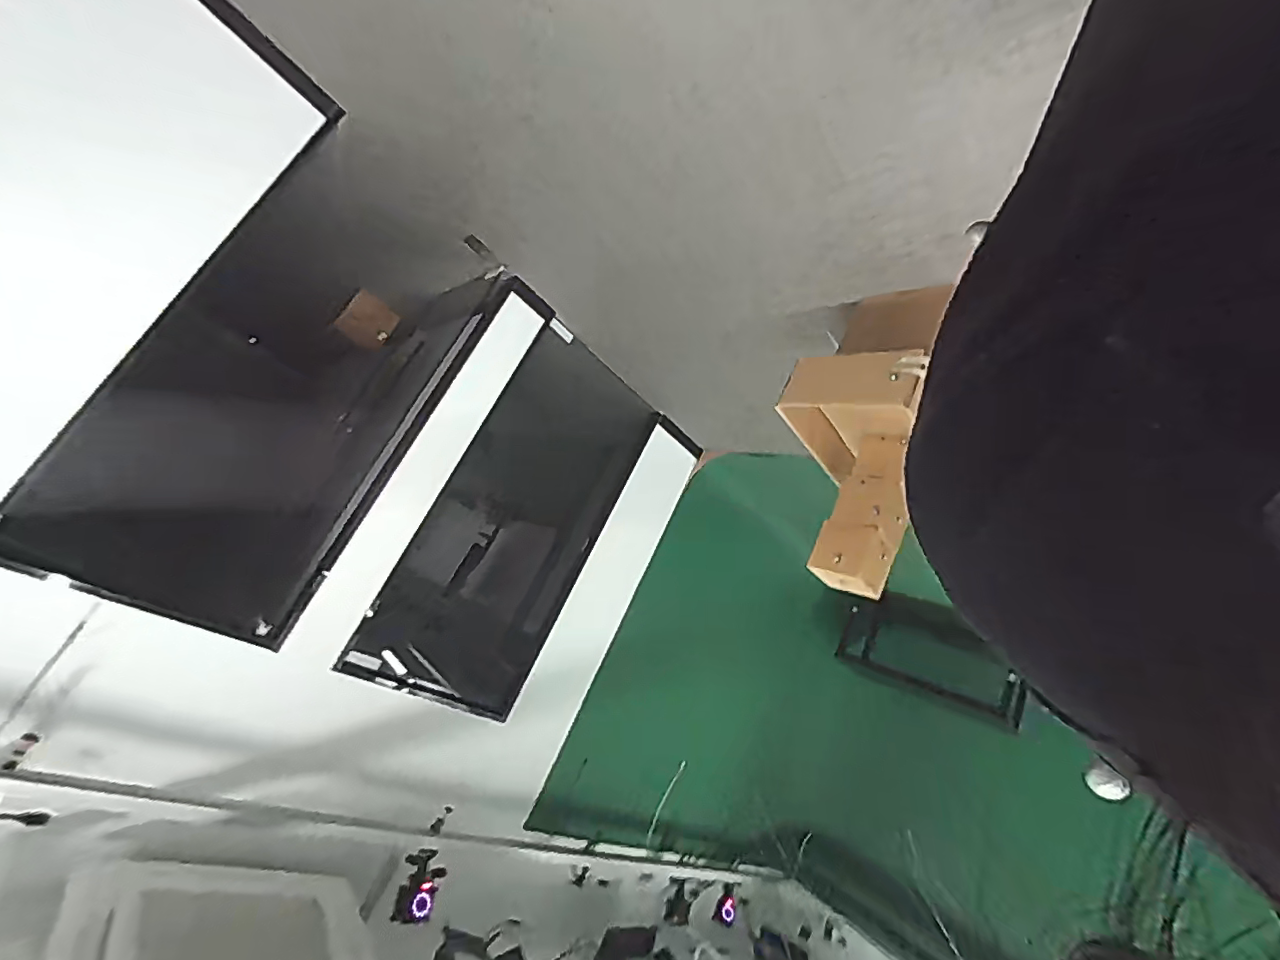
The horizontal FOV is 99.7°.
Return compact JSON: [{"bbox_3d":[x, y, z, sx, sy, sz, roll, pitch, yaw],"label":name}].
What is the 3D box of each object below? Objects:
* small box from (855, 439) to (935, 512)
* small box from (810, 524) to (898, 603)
[{"bbox_3d":[0.829,-0.020,1.750,0.168,0.176,0.179,10,156,48],"label":"small box"},{"bbox_3d":[0.665,0.252,1.676,0.179,0.176,0.168,8,155,50],"label":"small box"}]
